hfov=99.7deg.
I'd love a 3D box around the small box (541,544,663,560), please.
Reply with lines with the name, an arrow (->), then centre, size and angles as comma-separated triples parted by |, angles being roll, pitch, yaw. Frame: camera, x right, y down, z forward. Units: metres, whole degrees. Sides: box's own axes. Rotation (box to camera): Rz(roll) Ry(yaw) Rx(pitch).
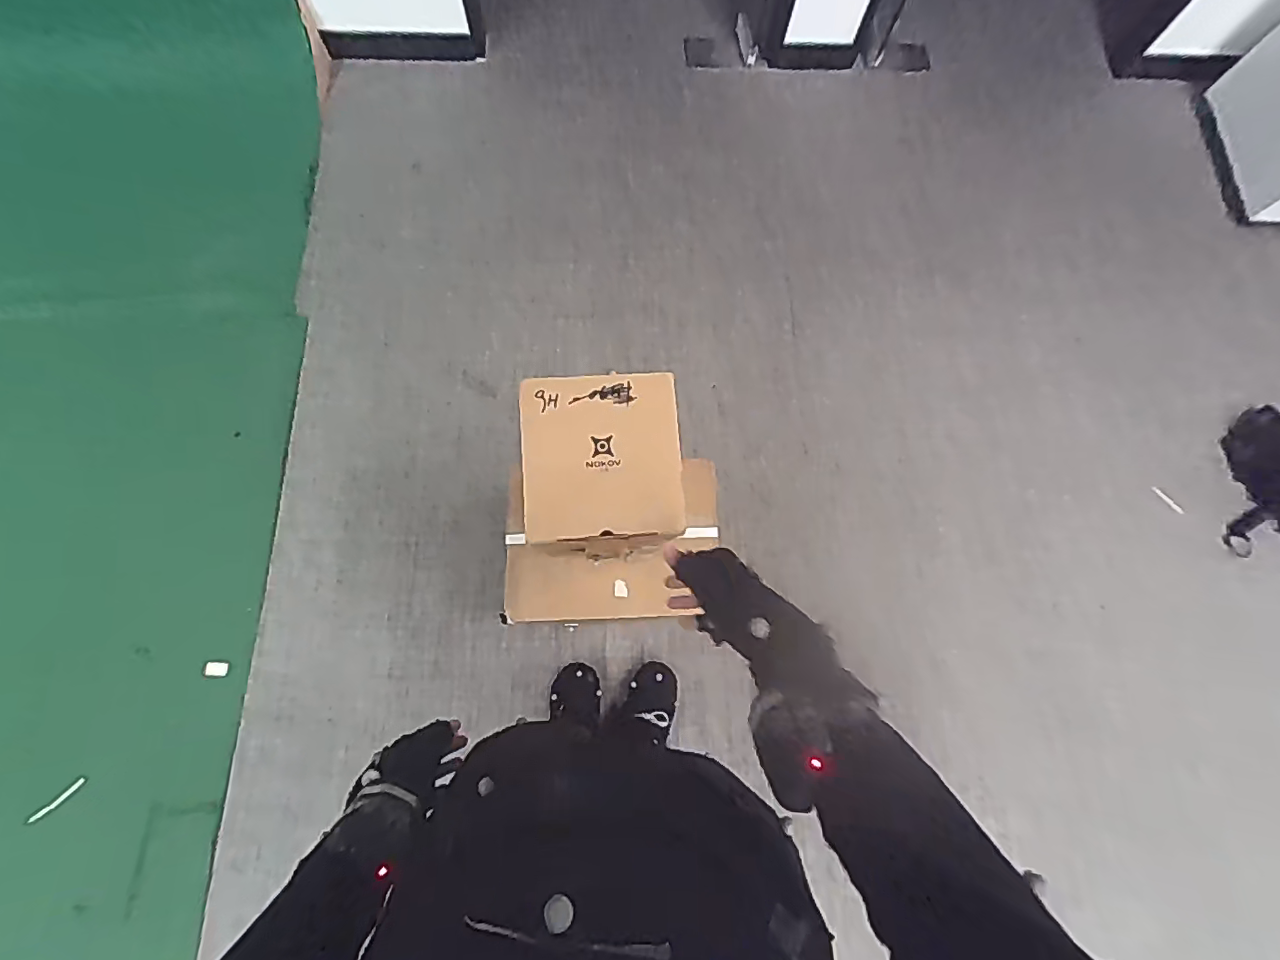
small box -> -0.057, 0.028, 0.806 | 0.168, 0.176, 0.179 | -2, 78, -5

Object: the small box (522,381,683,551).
small box -> -0.045, -0.006, 0.646 | 0.168, 0.176, 0.179 | -4, 81, -5
